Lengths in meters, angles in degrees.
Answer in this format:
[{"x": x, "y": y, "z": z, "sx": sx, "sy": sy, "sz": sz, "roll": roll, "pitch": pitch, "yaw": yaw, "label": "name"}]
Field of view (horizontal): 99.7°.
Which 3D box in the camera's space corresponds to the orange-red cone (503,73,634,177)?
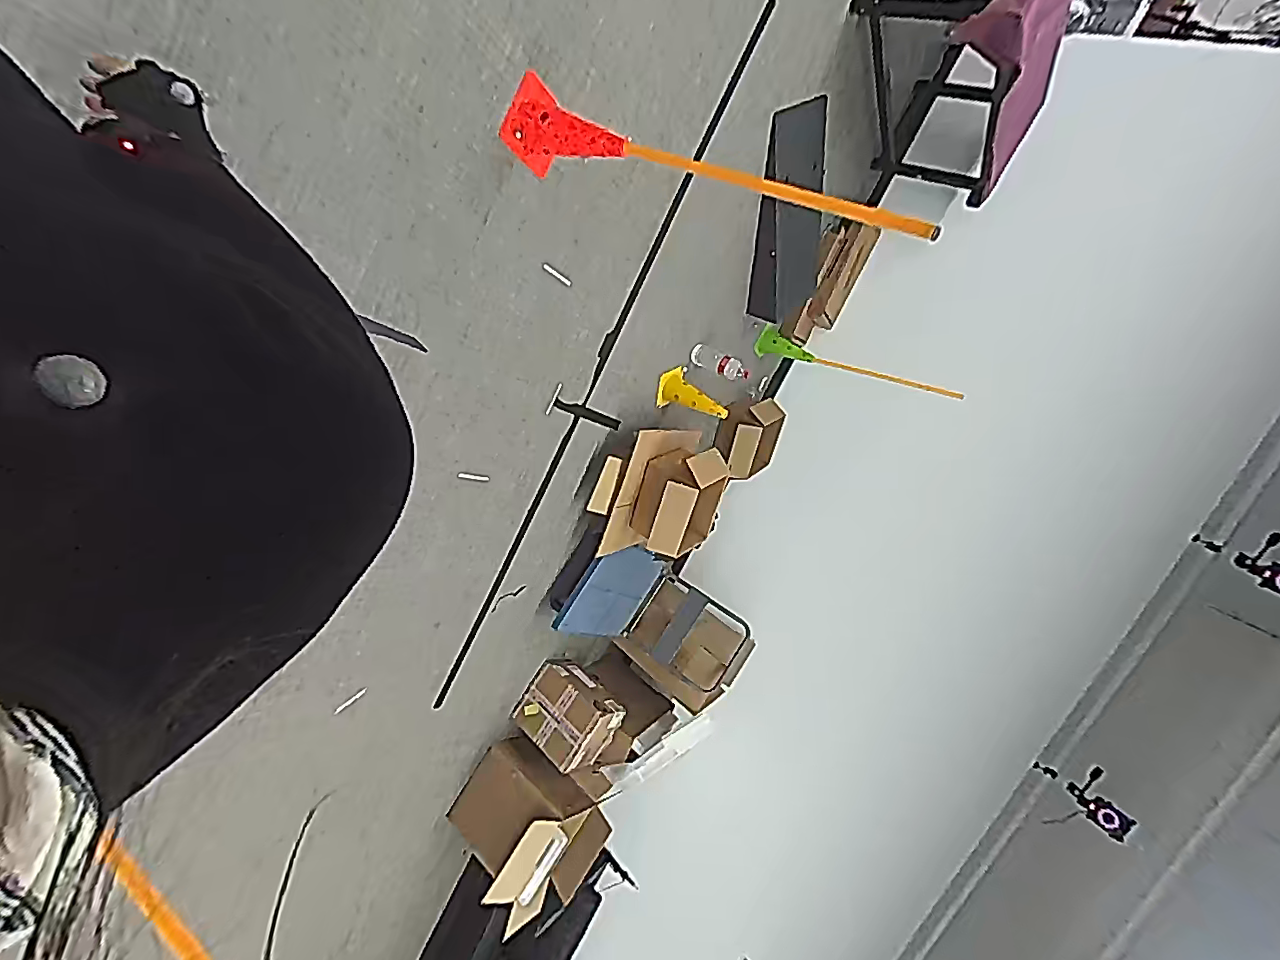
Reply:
[{"x": -0.160, "y": -0.929, "z": 1.467, "sx": 0.198, "sy": 0.360, "sz": 0.199, "roll": -61, "pitch": 153, "yaw": 5, "label": "orange-red cone"}]
